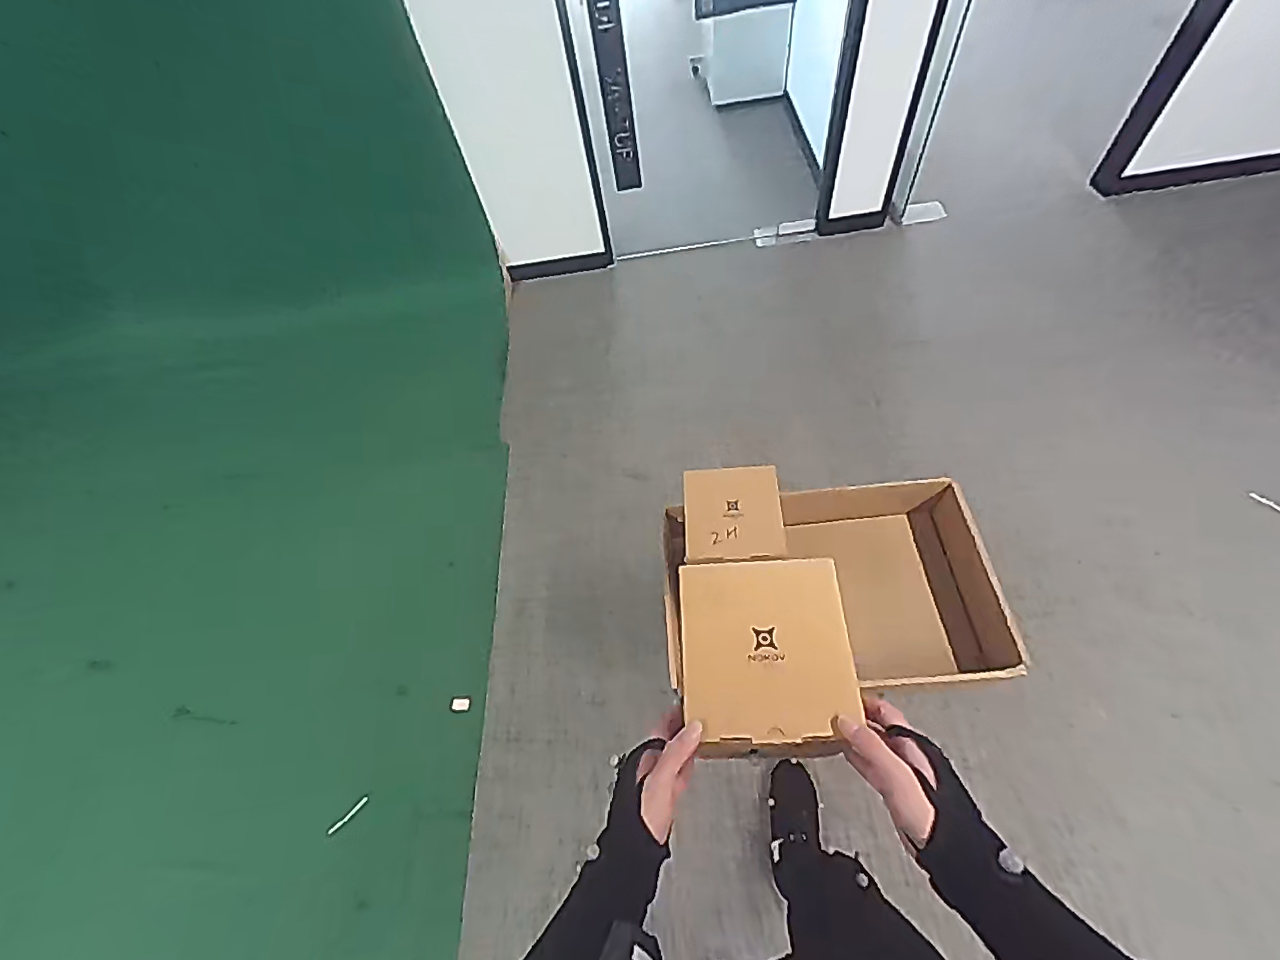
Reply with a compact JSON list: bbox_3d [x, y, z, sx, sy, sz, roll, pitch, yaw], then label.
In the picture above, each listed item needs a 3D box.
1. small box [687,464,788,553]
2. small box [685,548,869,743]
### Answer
[{"bbox_3d":[0.172,0.089,0.994,0.168,0.176,0.179,-3,59,8],"label":"small box"},{"bbox_3d":[0.135,0.191,0.607,0.168,0.176,0.179,-3,60,5],"label":"small box"}]
